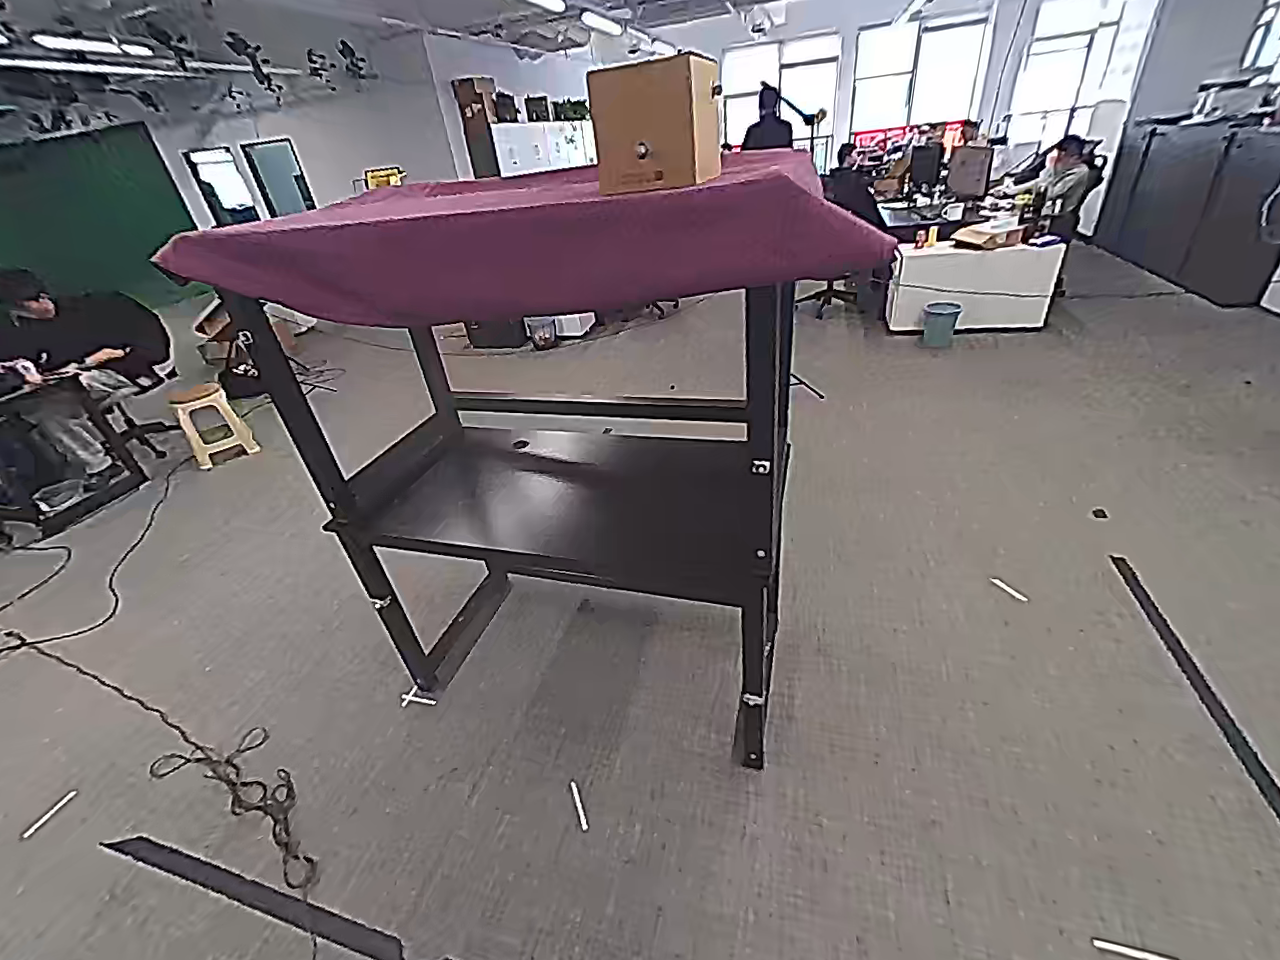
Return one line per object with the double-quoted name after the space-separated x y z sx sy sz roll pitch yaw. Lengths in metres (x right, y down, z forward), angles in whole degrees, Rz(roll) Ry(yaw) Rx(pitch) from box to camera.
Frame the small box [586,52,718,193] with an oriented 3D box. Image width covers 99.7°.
0.029 -0.575 0.885 0.168 0.176 0.179 5 34 20 "small box"
